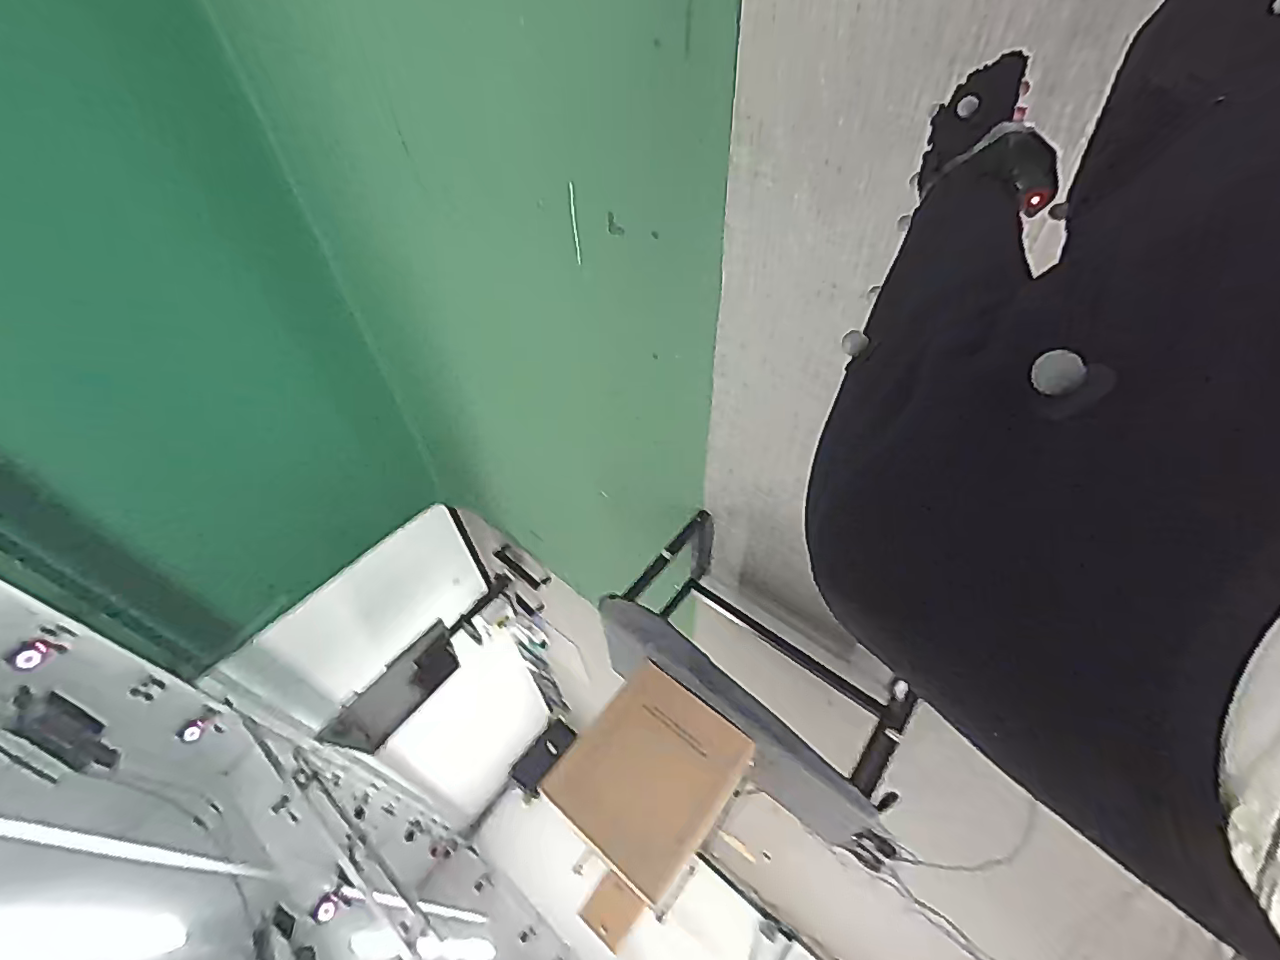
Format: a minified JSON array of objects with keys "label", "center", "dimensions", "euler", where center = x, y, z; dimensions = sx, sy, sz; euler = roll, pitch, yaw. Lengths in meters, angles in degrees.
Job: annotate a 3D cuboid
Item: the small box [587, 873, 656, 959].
[{"label":"small box","center":[-0.057,1.494,1.854],"dimensions":[0.168,0.176,0.179],"euler":[30,146,28]}]
